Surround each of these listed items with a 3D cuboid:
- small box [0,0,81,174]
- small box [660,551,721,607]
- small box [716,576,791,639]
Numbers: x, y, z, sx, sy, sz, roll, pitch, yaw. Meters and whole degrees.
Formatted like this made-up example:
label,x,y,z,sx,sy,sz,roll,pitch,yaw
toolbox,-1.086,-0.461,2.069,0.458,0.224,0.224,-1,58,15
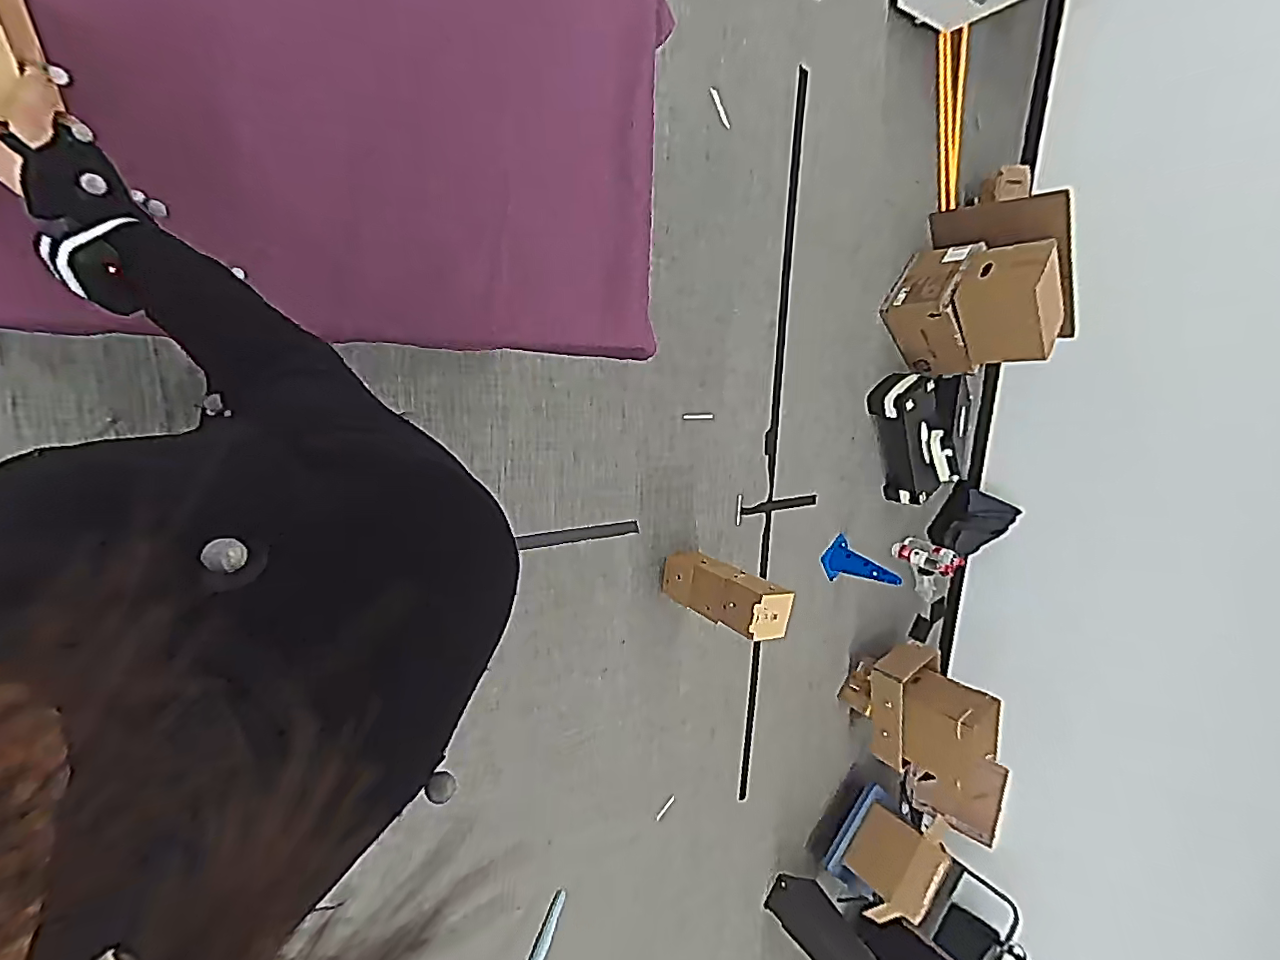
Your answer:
label,x,y,z,sx,sy,sz,roll,pitch,yaw
small box,-0.645,-0.375,0.463,0.179,0.176,0.168,-19,112,-32
small box,0.200,0.393,2.177,0.179,0.176,0.168,-2,103,-36
small box,0.401,0.445,1.920,0.179,0.176,0.168,6,98,-37
